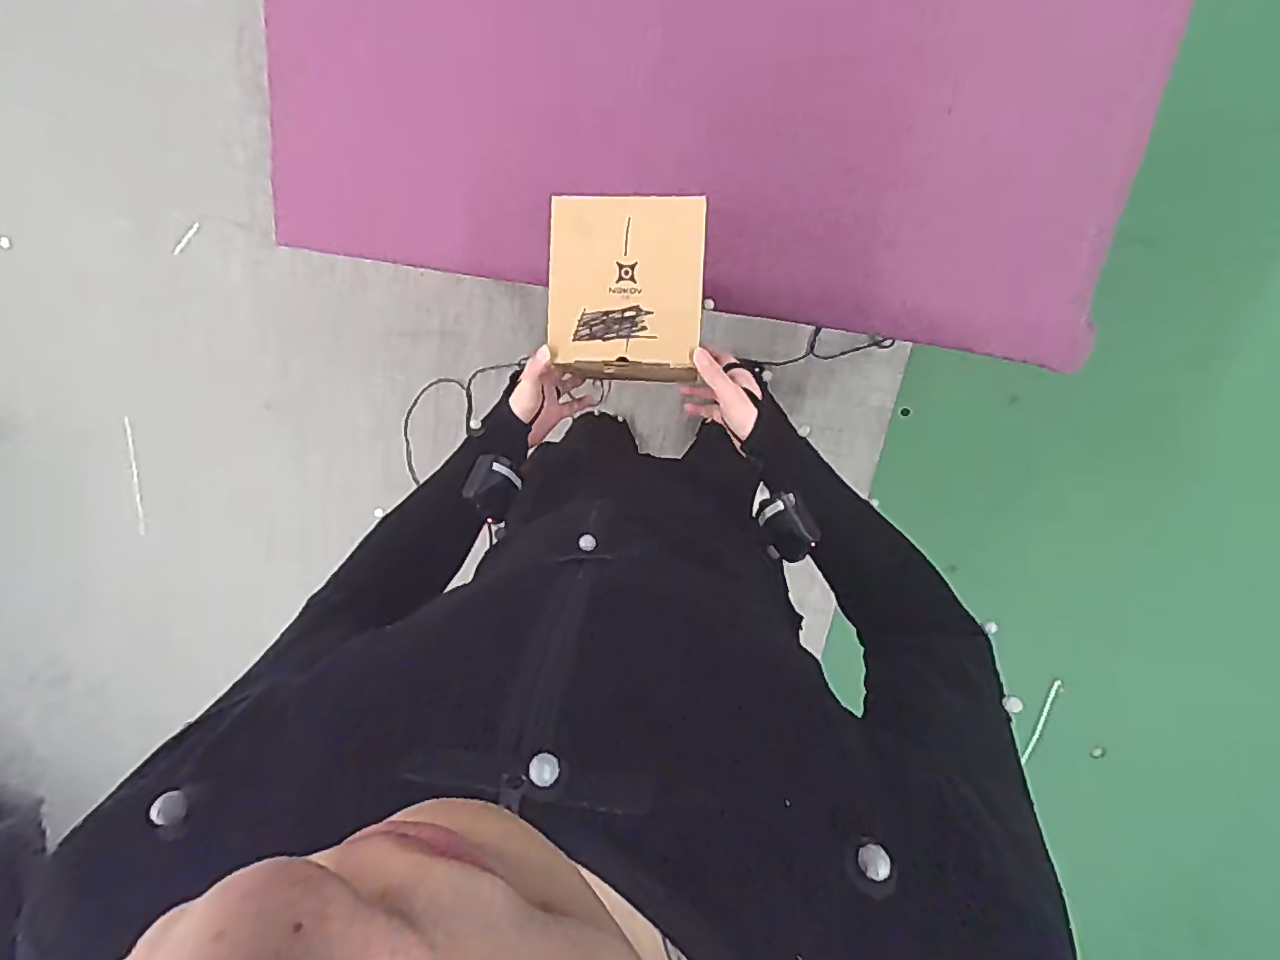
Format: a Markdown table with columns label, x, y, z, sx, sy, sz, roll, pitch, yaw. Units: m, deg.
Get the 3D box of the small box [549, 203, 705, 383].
| label | x | y | z | sx | sy | sz | roll | pitch | yaw |
| --- | --- | --- | --- | --- | --- | --- | --- | --- | --- |
| small box | -0.009 | -0.213 | 0.656 | 0.168 | 0.176 | 0.179 | 2 | 95 | 4 |
